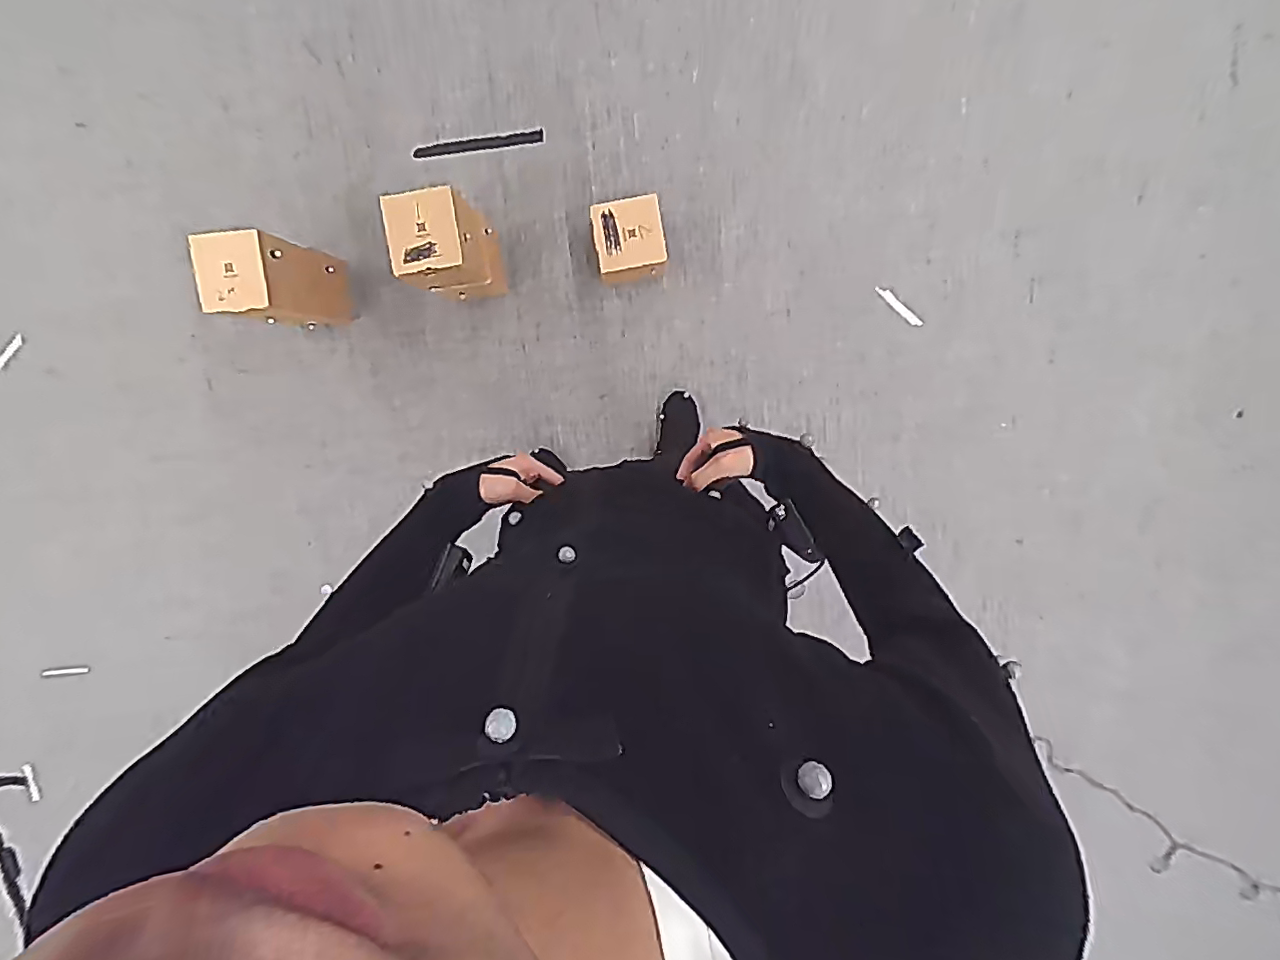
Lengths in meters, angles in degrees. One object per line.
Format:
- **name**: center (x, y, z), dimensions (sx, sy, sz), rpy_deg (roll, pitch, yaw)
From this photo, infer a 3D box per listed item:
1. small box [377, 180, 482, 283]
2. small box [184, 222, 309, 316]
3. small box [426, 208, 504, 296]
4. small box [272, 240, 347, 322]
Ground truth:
- **small box**: center (-0.489, -0.577, 1.281), dimensions (0.168, 0.176, 0.179), rpy_deg (-8, 97, 2)
- **small box**: center (-0.936, -0.500, 1.303), dimensions (0.168, 0.176, 0.179), rpy_deg (-3, 100, 3)
- **small box**: center (-0.473, -0.598, 1.444), dimensions (0.168, 0.176, 0.179), rpy_deg (-8, 98, 2)
- **small box**: center (-0.925, -0.532, 1.464), dimensions (0.168, 0.176, 0.179), rpy_deg (-3, 99, 3)
